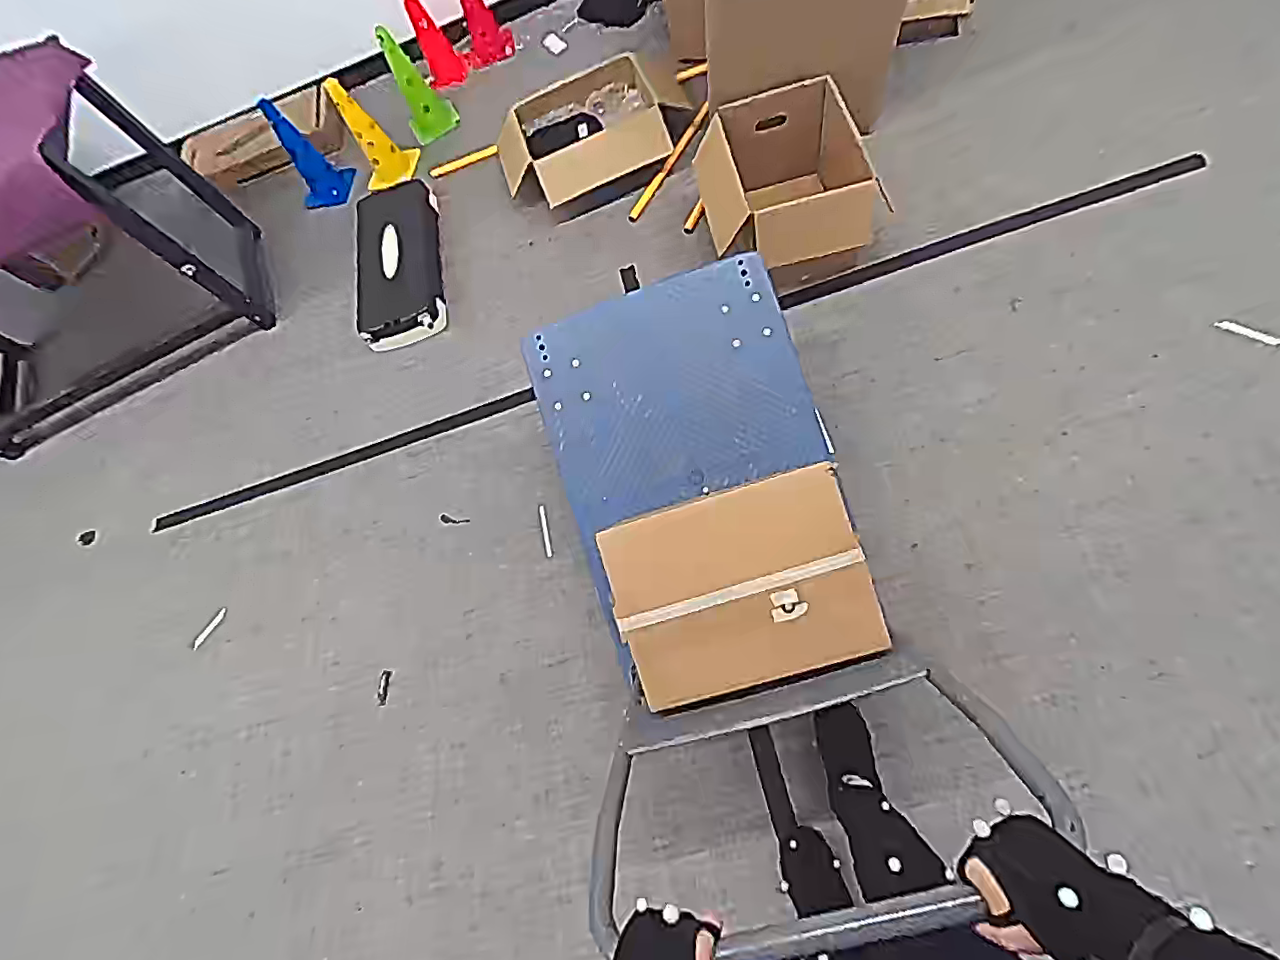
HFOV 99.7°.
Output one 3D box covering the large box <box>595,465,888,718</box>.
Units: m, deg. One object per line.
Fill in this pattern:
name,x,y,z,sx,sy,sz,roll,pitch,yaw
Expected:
large box,0.172,0.186,1.017,0.408,0.320,0.320,-18,88,6
